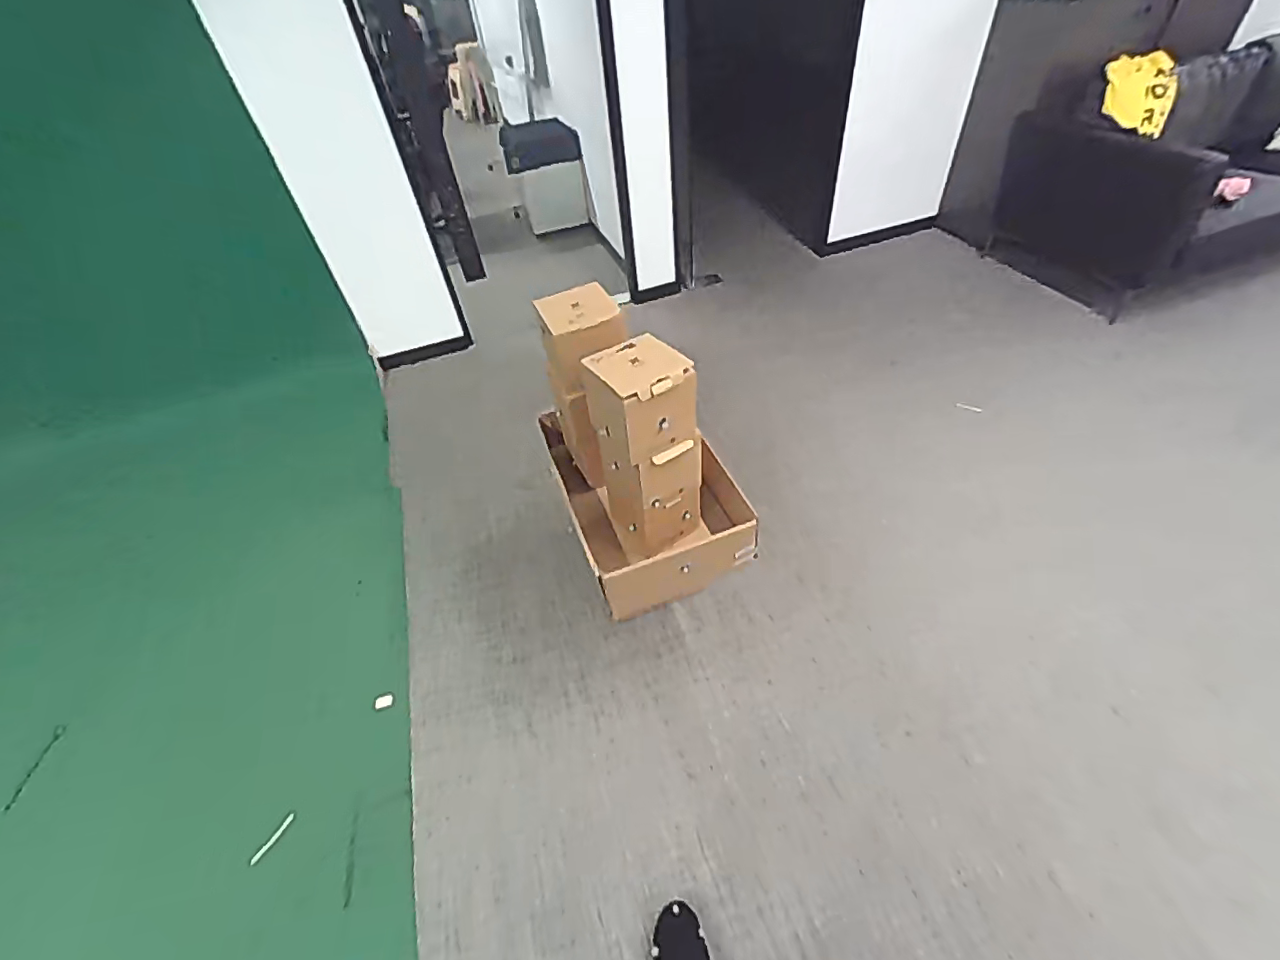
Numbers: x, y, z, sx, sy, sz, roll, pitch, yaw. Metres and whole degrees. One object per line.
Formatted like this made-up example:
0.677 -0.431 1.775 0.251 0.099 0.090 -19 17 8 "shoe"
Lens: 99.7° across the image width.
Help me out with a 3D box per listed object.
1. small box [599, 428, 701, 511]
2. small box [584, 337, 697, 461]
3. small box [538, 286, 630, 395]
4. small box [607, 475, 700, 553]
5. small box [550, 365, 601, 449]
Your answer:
0.027 -0.052 1.240 0.168 0.176 0.179 -28 49 -20 "small box"
0.004 -0.161 1.118 0.168 0.176 0.179 -26 49 -19 "small box"
-0.128 -0.333 1.296 0.168 0.176 0.179 -21 49 -11 "small box"
0.038 0.060 1.359 0.168 0.176 0.179 -28 49 -20 "small box"
-0.115 -0.211 1.407 0.179 0.176 0.168 -23 48 -13 "small box"
